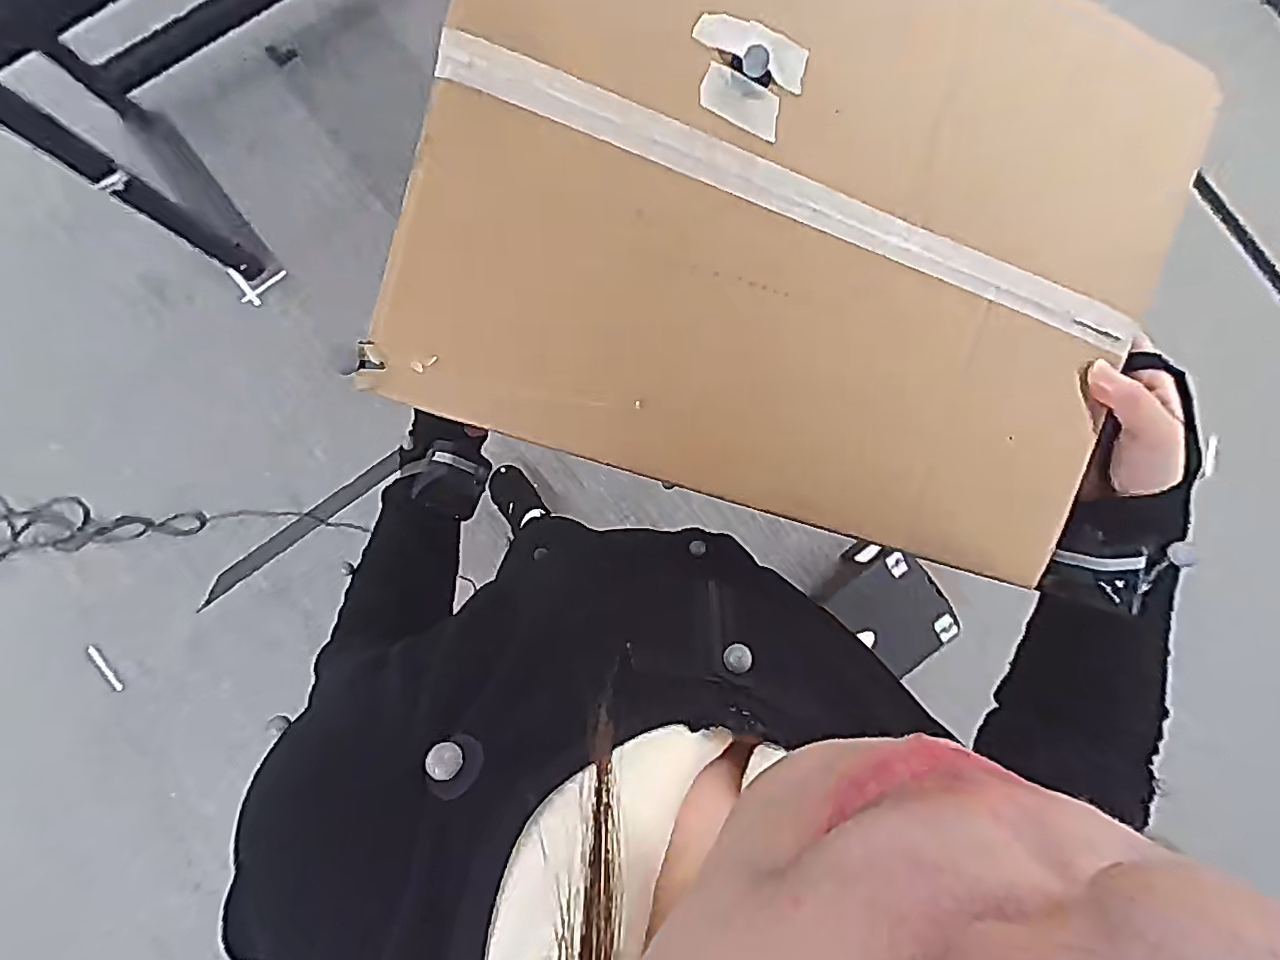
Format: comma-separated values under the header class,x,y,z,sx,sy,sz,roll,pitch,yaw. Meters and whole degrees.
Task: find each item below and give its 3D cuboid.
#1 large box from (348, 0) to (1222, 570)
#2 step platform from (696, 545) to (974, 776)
class,x,y,z,sx,sy,sz,roll,pitch,yaw
large box,0.070,-0.159,0.422,0.408,0.320,0.320,16,95,-10
step platform,0.495,0.448,1.402,0.684,0.204,0.286,-31,88,-5
